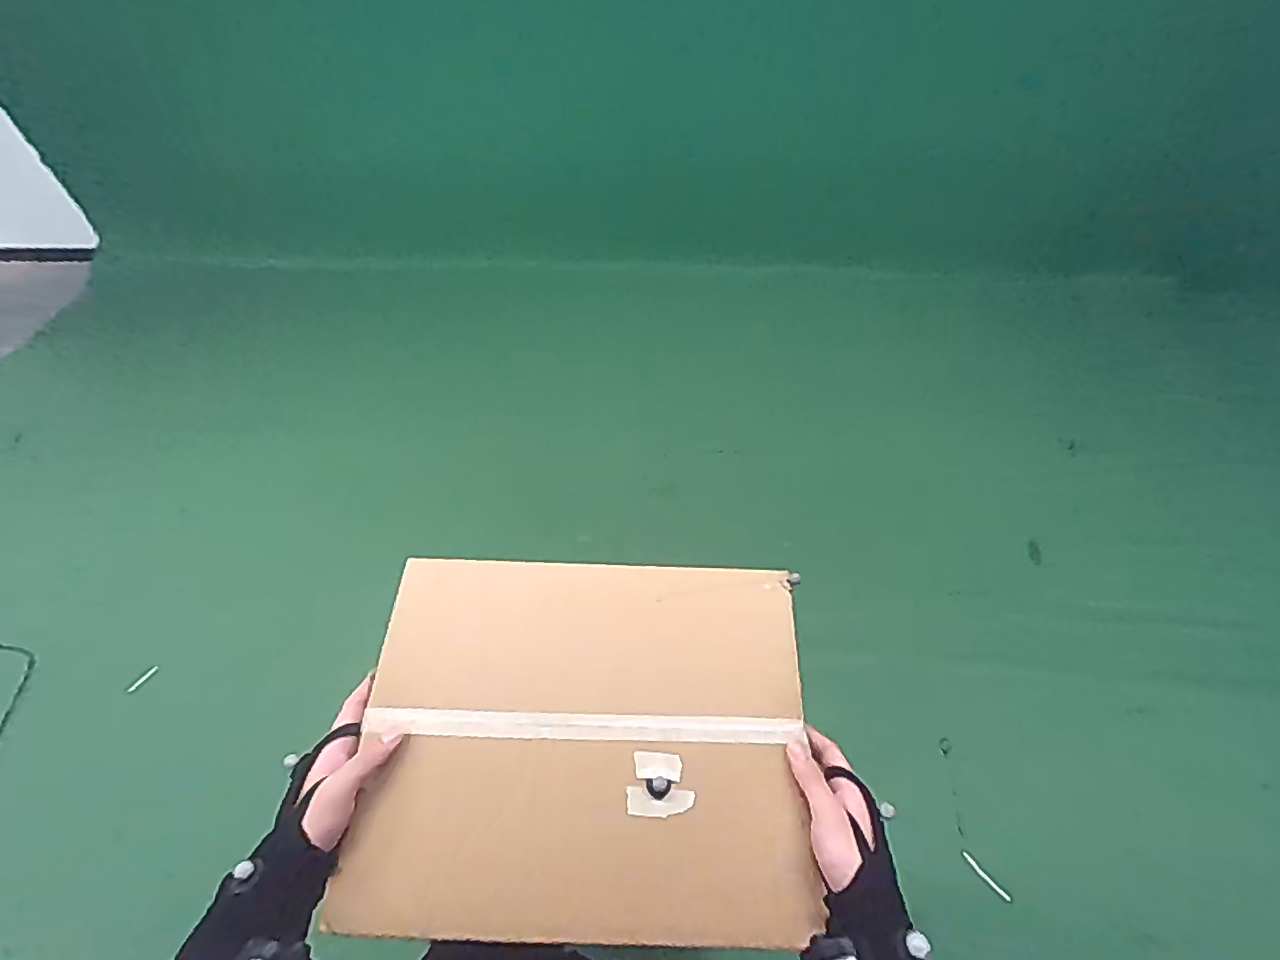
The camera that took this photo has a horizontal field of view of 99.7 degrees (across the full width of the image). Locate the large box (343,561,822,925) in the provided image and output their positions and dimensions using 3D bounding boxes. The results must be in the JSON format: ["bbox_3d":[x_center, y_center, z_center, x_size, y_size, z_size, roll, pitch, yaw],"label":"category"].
[{"bbox_3d":[-0.049,0.300,0.644,0.408,0.320,0.320,2,62,-1],"label":"large box"}]
